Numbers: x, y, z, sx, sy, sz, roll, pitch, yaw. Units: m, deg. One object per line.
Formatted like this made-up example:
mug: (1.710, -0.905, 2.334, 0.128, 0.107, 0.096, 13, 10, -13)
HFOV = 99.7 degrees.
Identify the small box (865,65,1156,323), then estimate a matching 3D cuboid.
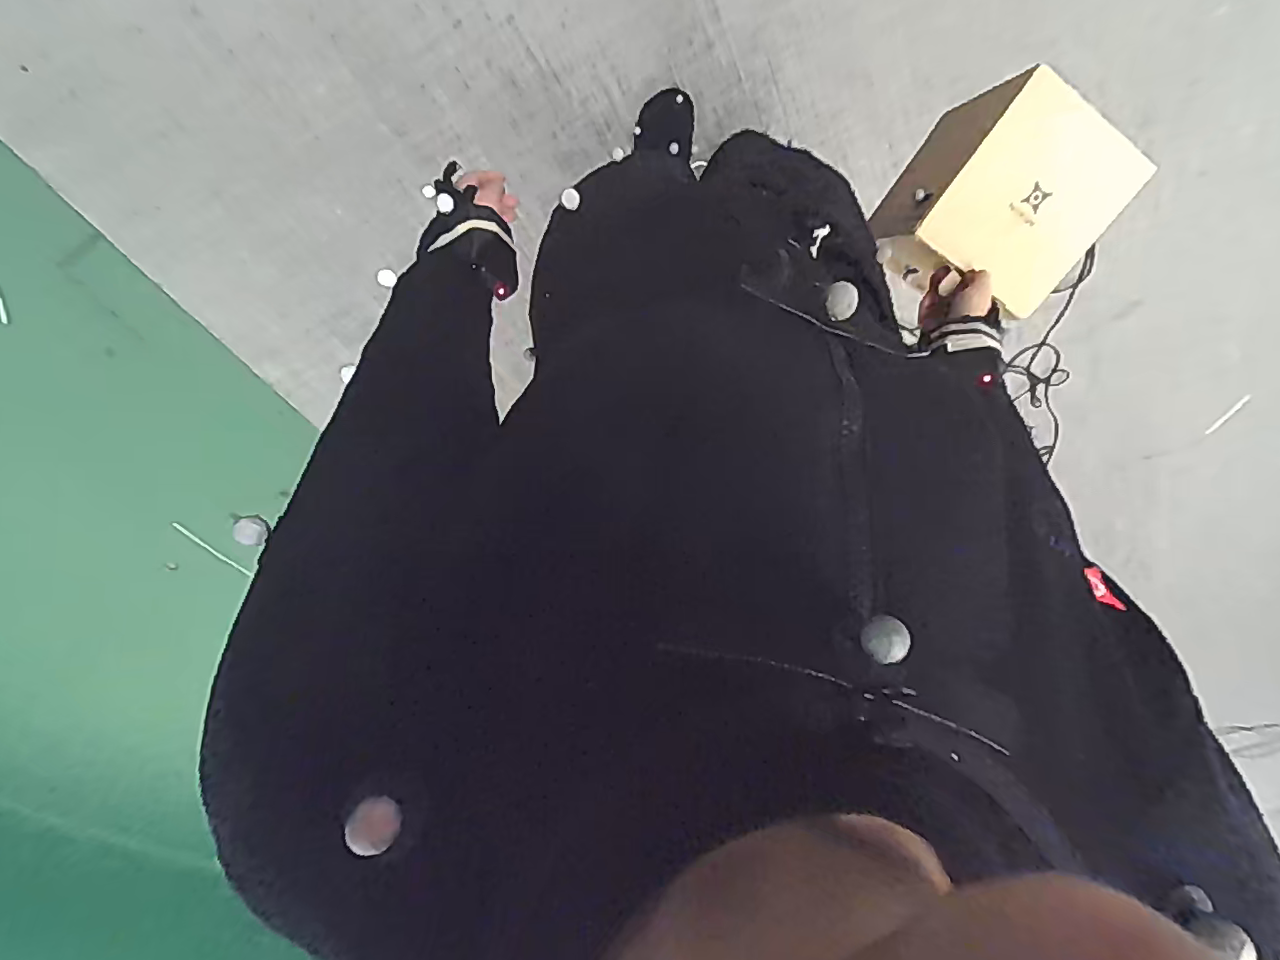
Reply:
small box: (0.392, -0.305, 0.612, 0.168, 0.176, 0.179, 31, 109, -11)
